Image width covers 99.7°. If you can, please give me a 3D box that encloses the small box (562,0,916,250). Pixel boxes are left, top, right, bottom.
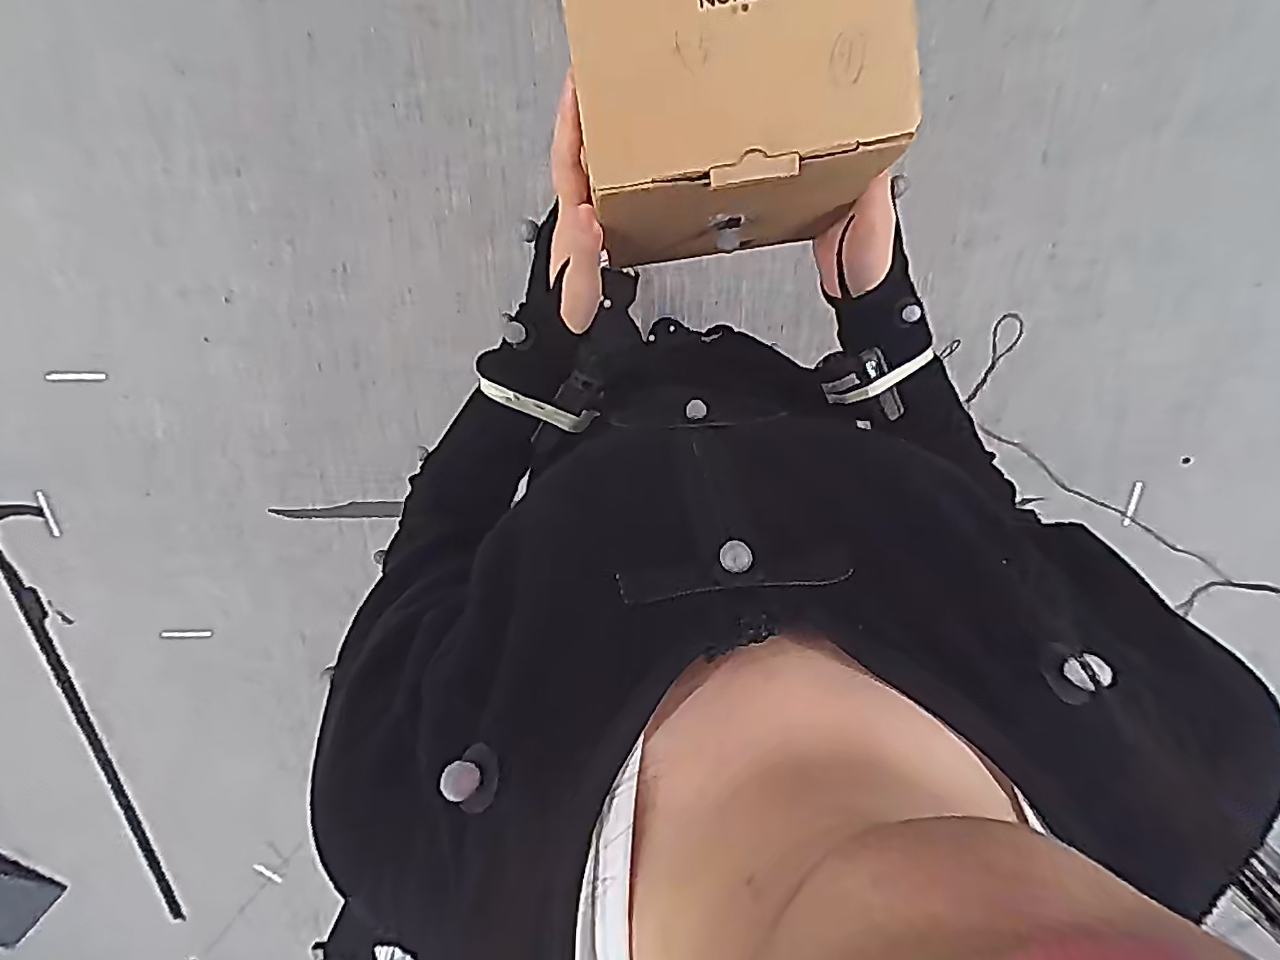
[{"bbox_3d":[0.044,-0.254,0.332,0.168,0.176,0.179,-9,100,1],"label":"small box"}]
